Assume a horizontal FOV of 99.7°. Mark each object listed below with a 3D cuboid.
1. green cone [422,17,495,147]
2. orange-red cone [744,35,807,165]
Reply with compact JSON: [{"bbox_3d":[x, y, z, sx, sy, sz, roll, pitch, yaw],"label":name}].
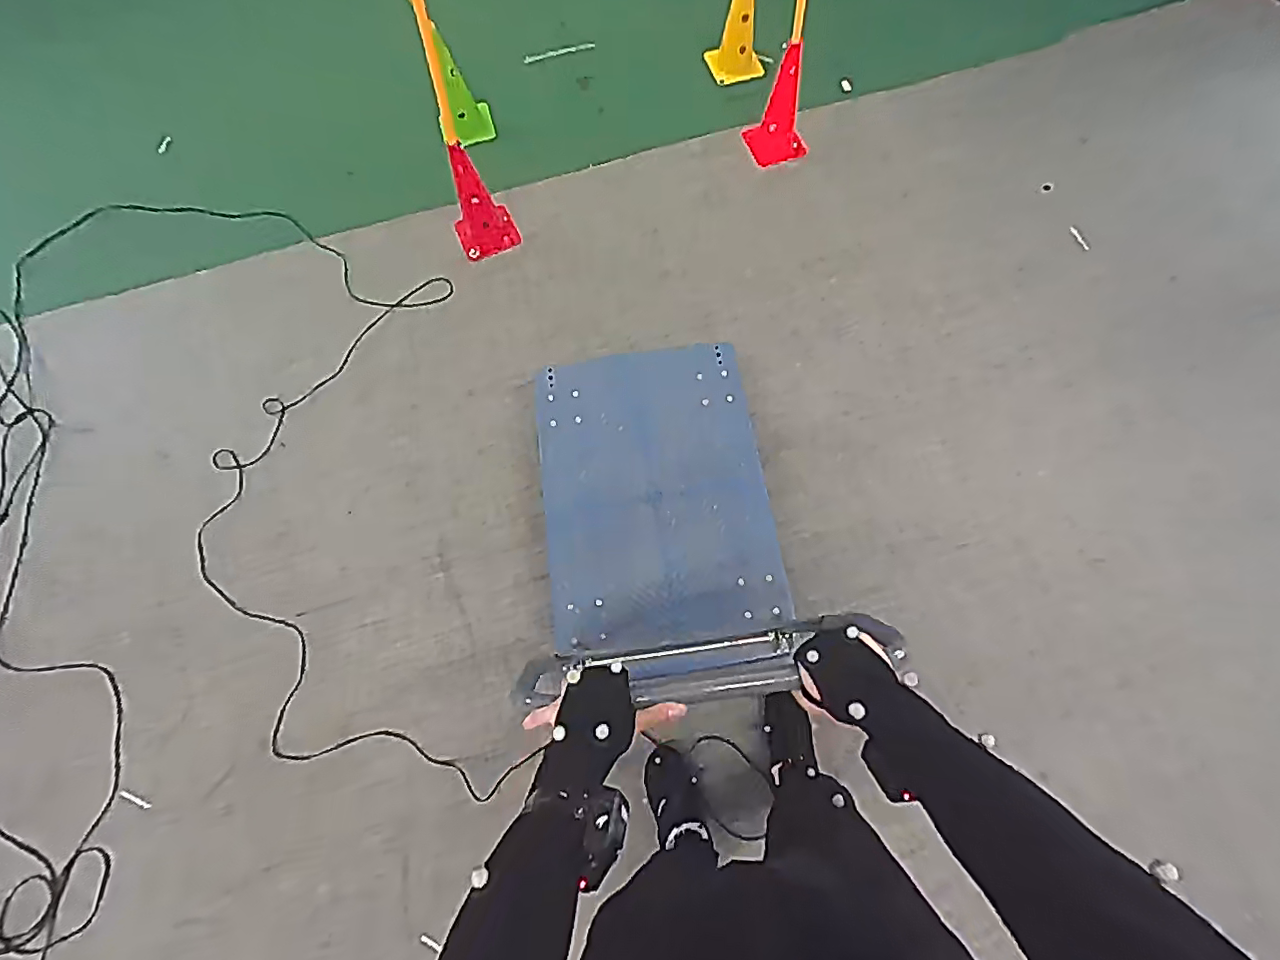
[{"bbox_3d":[-0.683,-1.444,1.944,0.200,0.368,0.202,-17,70,-3],"label":"green cone"},{"bbox_3d":[0.498,-1.323,1.861,0.198,0.360,0.199,-16,69,-5],"label":"orange-red cone"}]
